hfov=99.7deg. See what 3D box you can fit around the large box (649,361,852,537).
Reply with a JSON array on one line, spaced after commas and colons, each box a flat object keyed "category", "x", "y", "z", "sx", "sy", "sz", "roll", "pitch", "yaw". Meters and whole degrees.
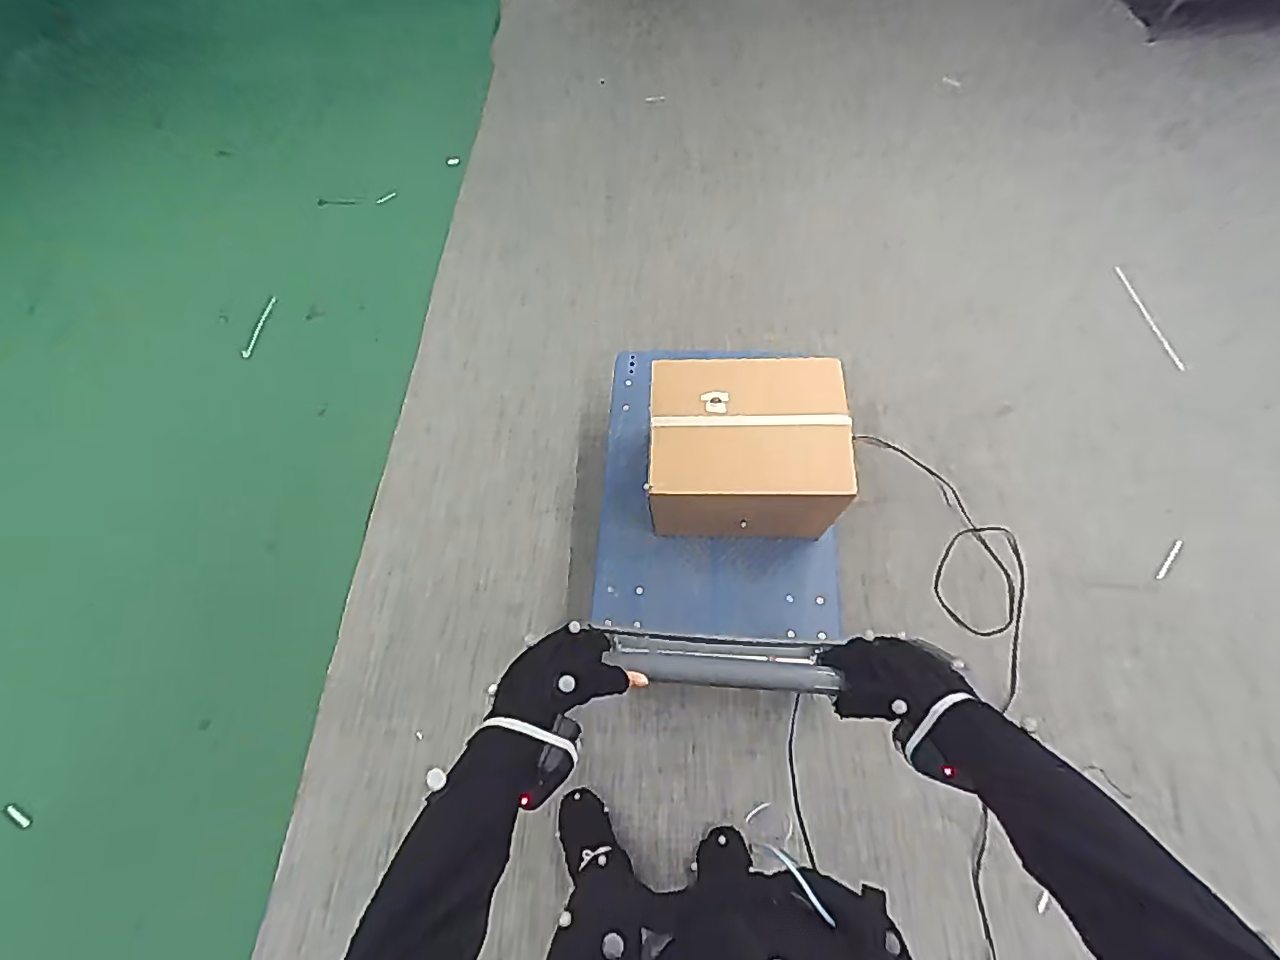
[{"category": "large box", "x": 0.233, "y": -0.054, "z": 1.261, "sx": 0.408, "sy": 0.320, "sz": 0.320, "roll": -1, "pitch": 68, "yaw": 5}]
